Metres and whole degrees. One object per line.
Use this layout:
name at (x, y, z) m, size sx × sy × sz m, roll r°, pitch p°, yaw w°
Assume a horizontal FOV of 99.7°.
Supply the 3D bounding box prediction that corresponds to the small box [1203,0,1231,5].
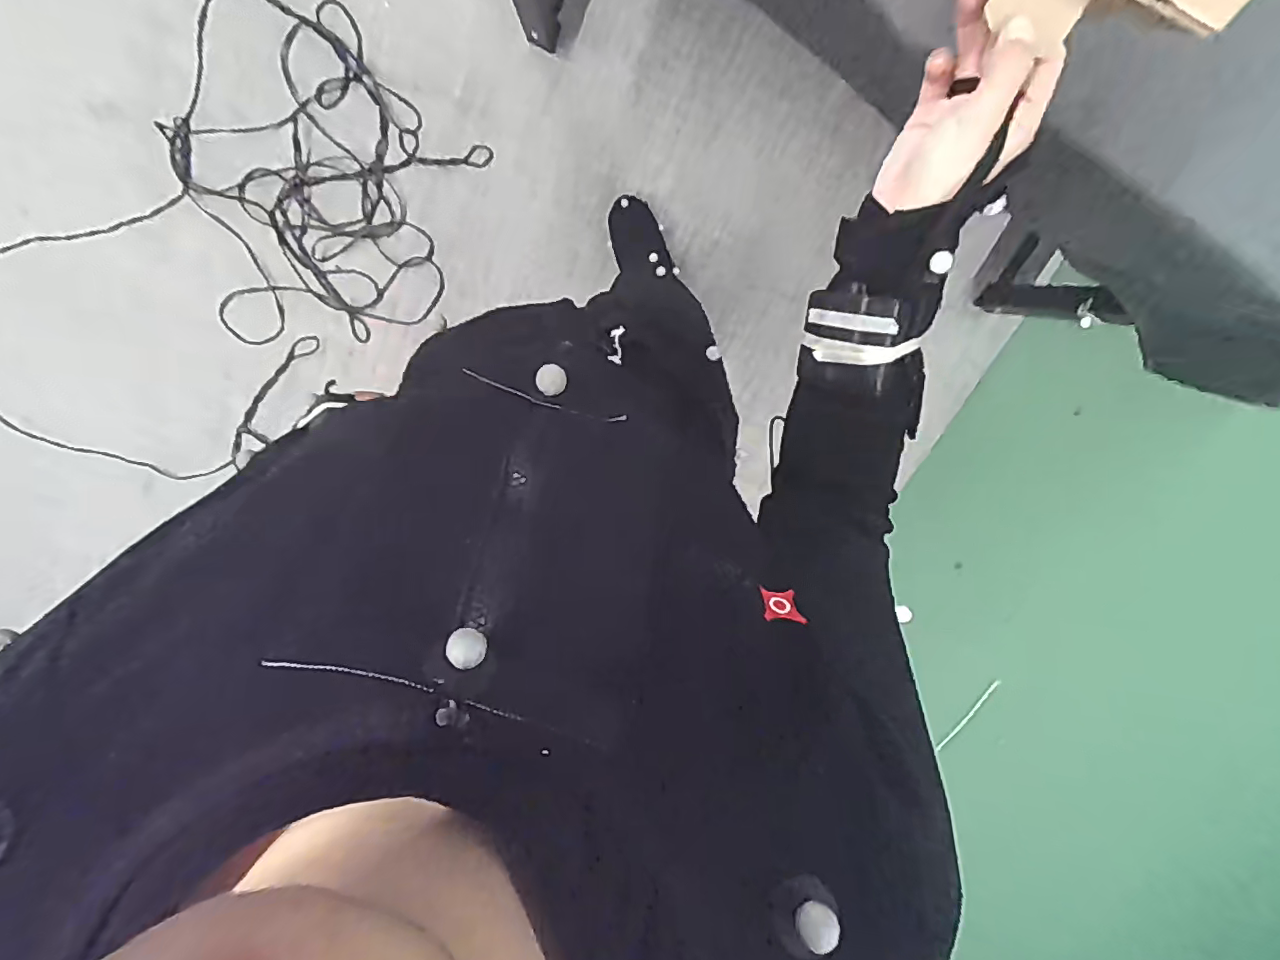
small box at (0.244, -0.359, 0.239) m, size 0.168 × 0.176 × 0.179 m, roll 19°, pitch 132°, yaw -13°
